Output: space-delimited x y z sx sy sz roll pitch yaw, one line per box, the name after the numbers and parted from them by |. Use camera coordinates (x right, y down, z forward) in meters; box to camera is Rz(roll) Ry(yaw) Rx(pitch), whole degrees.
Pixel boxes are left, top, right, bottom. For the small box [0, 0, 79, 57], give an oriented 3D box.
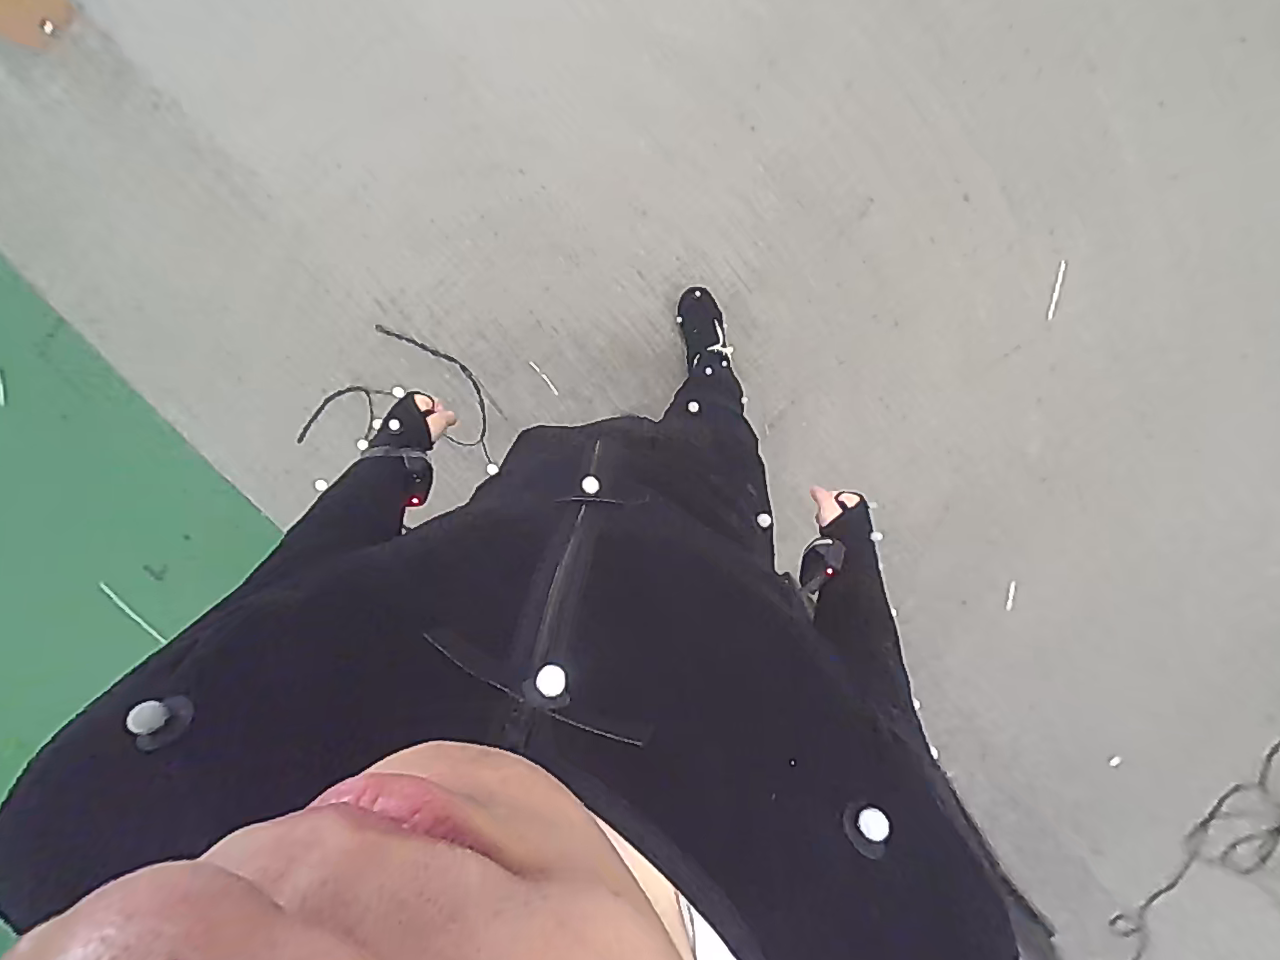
-1.559 -1.208 1.330 0.179 0.176 0.168 -35 100 11 | small box
